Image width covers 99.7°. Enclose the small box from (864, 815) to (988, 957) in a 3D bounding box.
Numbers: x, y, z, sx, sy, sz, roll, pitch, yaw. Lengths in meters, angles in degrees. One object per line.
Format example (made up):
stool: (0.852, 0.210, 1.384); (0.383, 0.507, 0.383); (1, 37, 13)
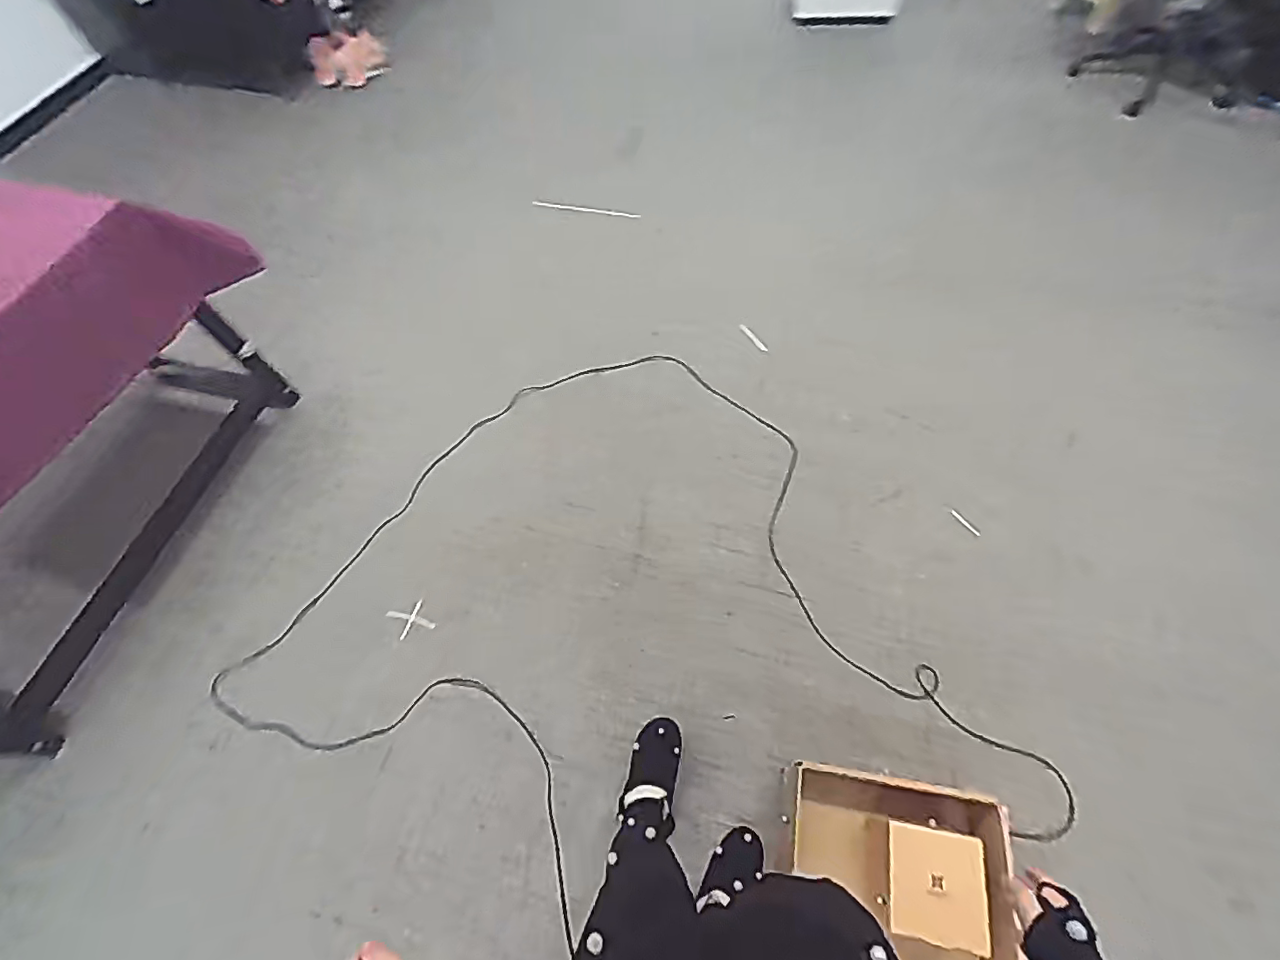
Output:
small box: (0.543, 0.771, 1.051); (0.168, 0.176, 0.179); (7, 64, 10)
